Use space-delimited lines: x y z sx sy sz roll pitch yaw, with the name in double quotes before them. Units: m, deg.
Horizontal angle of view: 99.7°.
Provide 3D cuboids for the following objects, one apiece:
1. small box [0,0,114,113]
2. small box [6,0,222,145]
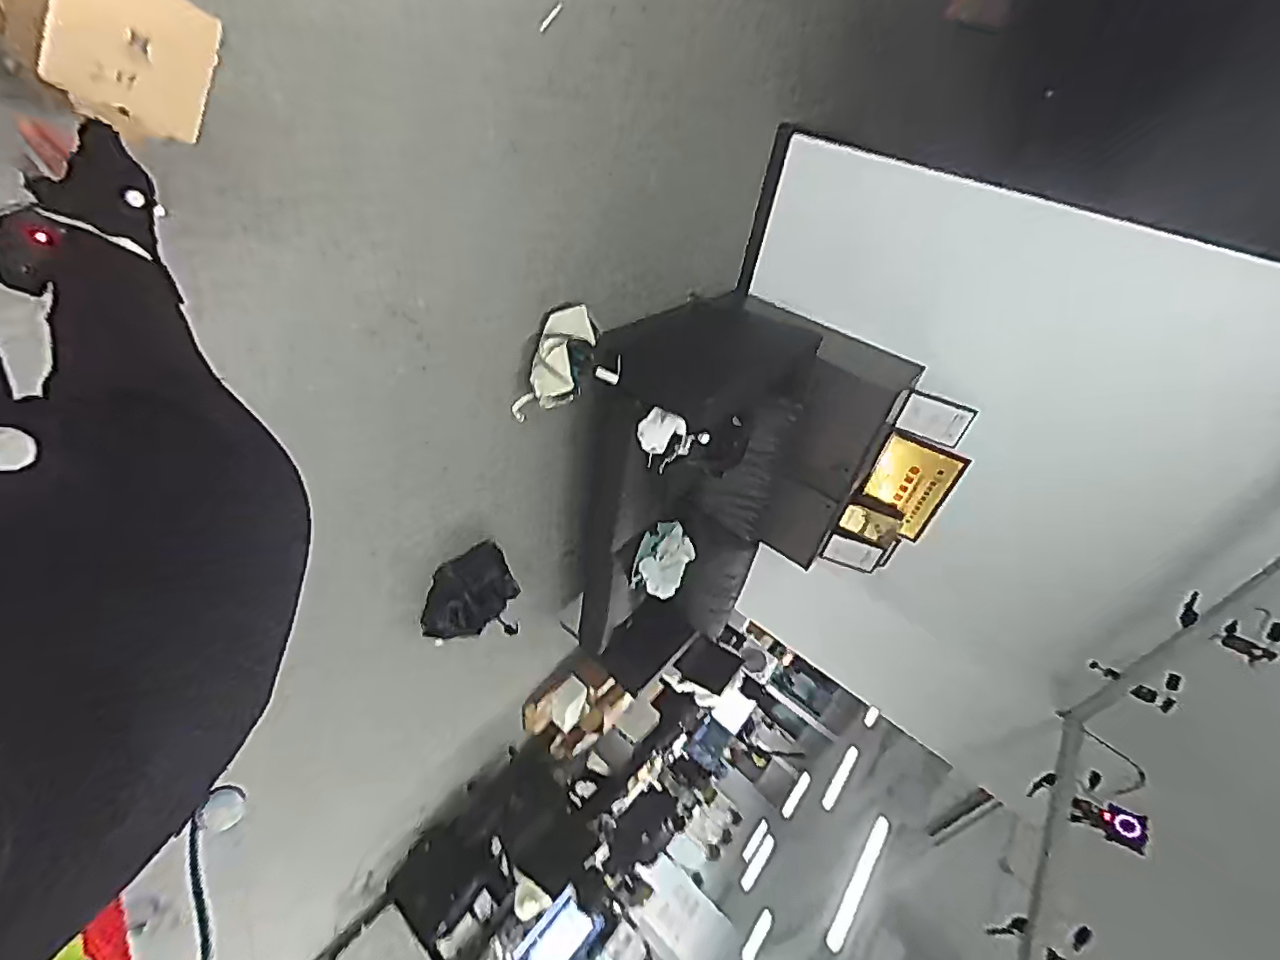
"small box" -0.855 -0.679 0.824 0.179 0.176 0.168 -38 150 -36
"small box" -0.736 -0.620 0.758 0.168 0.176 0.179 -1 121 -61
